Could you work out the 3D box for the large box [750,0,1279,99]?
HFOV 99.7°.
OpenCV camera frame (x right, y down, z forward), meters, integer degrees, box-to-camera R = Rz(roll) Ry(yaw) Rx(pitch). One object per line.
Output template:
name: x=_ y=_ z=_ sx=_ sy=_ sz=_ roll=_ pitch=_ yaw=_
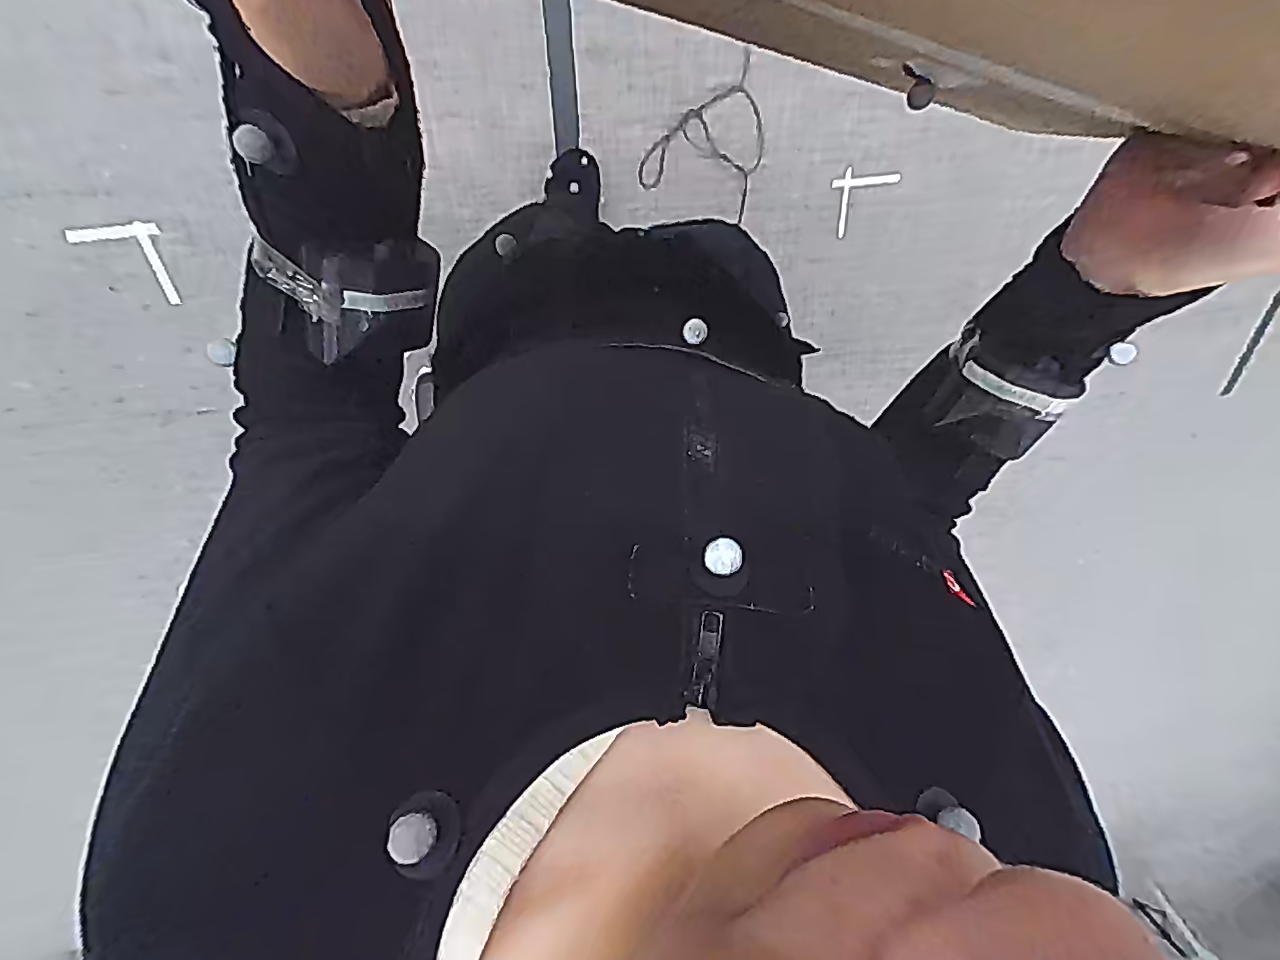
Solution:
large box: x=0.115 y=-0.321 z=0.117 sx=0.408 sy=0.320 sz=0.320 roll=6 pitch=125 yaw=-12
